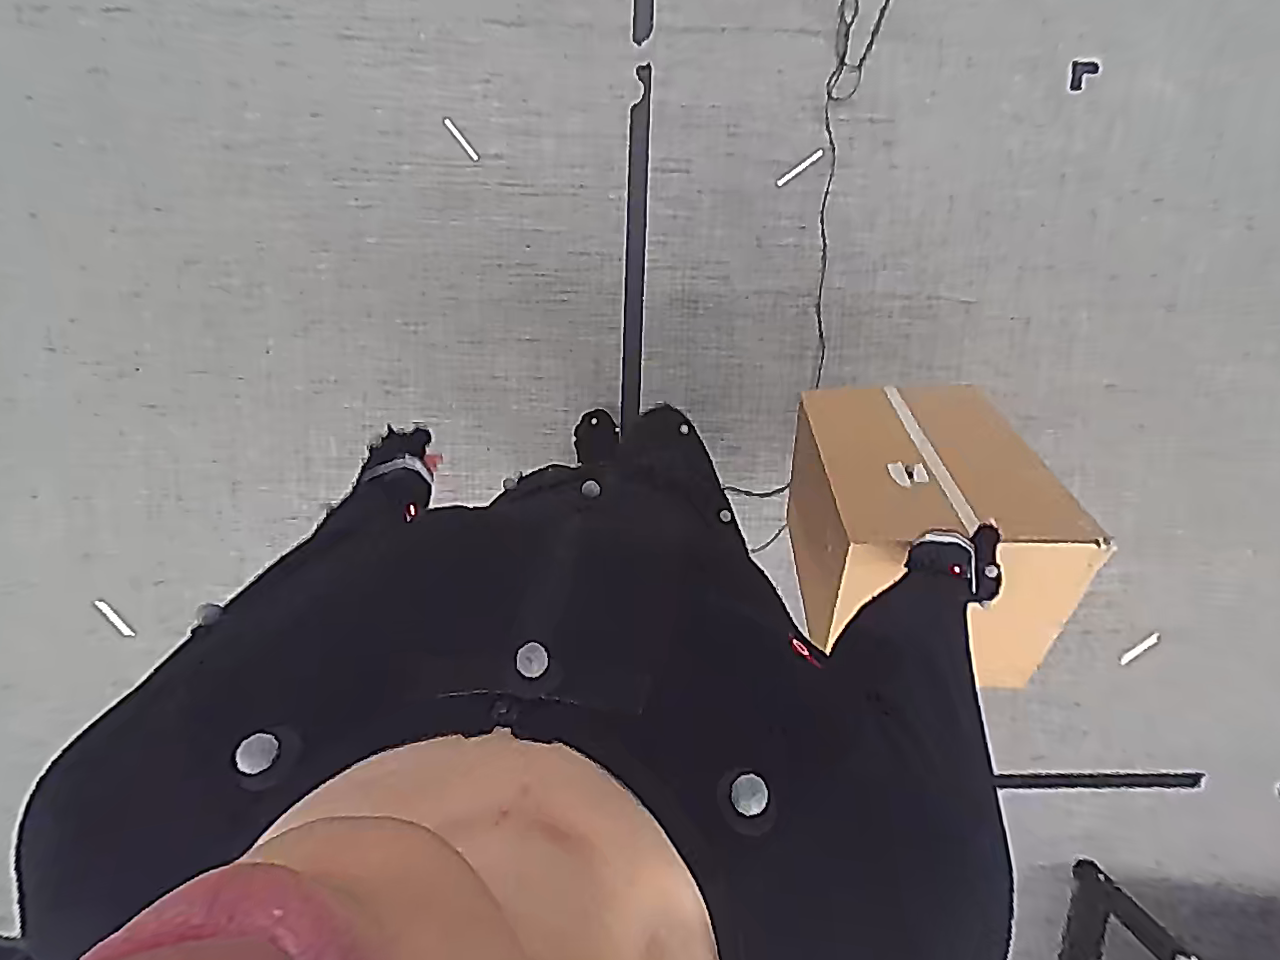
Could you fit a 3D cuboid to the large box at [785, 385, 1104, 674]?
[{"bbox_3d":[0.450,0.071,0.933,0.320,0.408,0.320,-1,130,6],"label":"large box"}]
